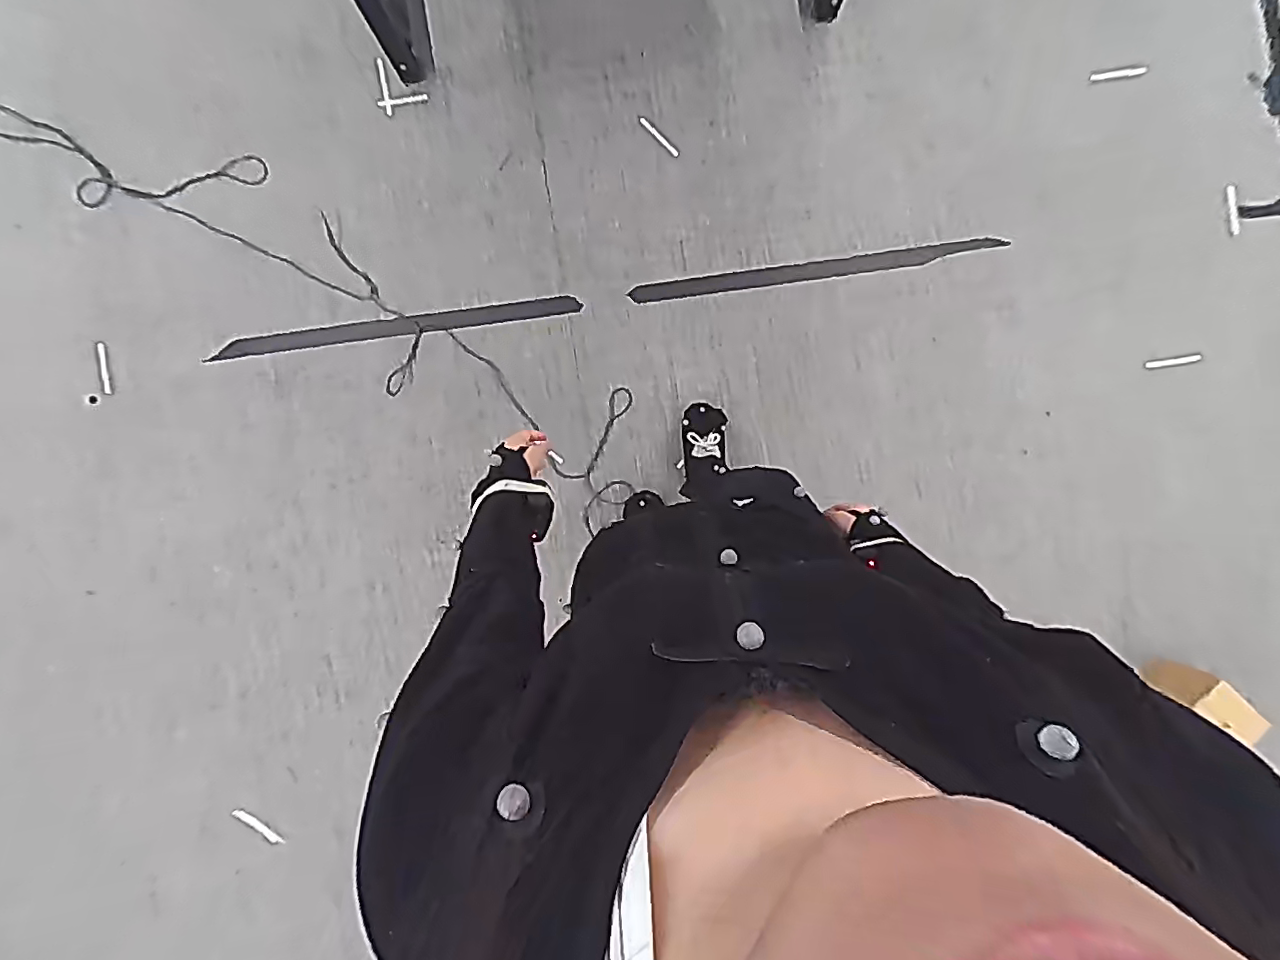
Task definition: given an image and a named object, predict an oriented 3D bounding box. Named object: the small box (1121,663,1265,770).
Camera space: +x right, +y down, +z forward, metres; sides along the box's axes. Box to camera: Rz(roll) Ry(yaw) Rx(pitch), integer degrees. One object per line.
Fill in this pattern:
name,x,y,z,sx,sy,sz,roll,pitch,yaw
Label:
small box,1.460,0.615,1.441,0.179,0.176,0.168,44,91,-2
